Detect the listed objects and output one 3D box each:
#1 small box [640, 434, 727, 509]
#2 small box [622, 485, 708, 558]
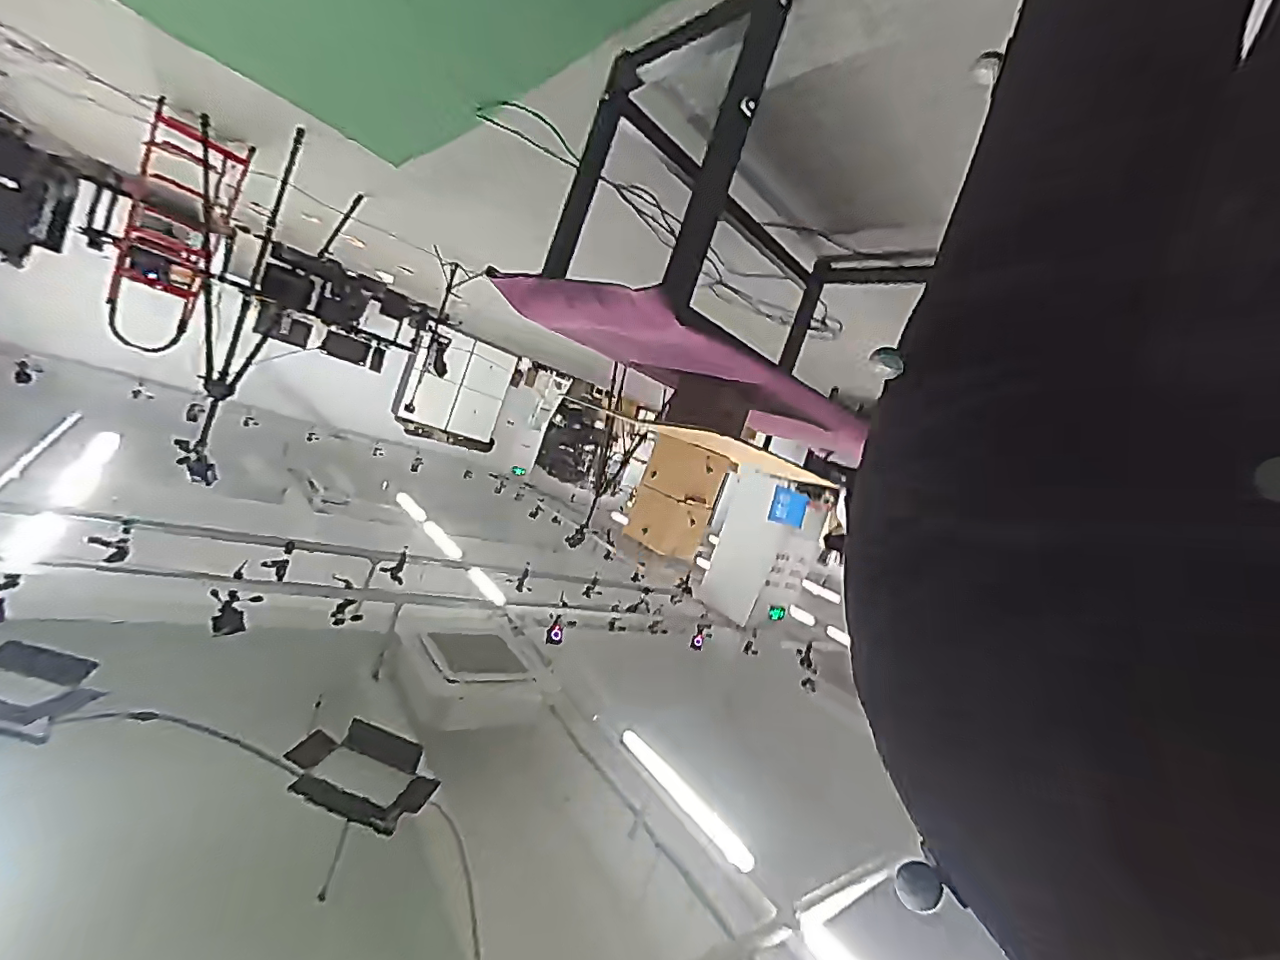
[{"bbox_3d":[0.137,-0.031,1.655,0.168,0.176,0.179,17,-174,-44],"label":"small box"},{"bbox_3d":[0.080,0.122,1.667,0.168,0.176,0.179,17,-175,-44],"label":"small box"}]
